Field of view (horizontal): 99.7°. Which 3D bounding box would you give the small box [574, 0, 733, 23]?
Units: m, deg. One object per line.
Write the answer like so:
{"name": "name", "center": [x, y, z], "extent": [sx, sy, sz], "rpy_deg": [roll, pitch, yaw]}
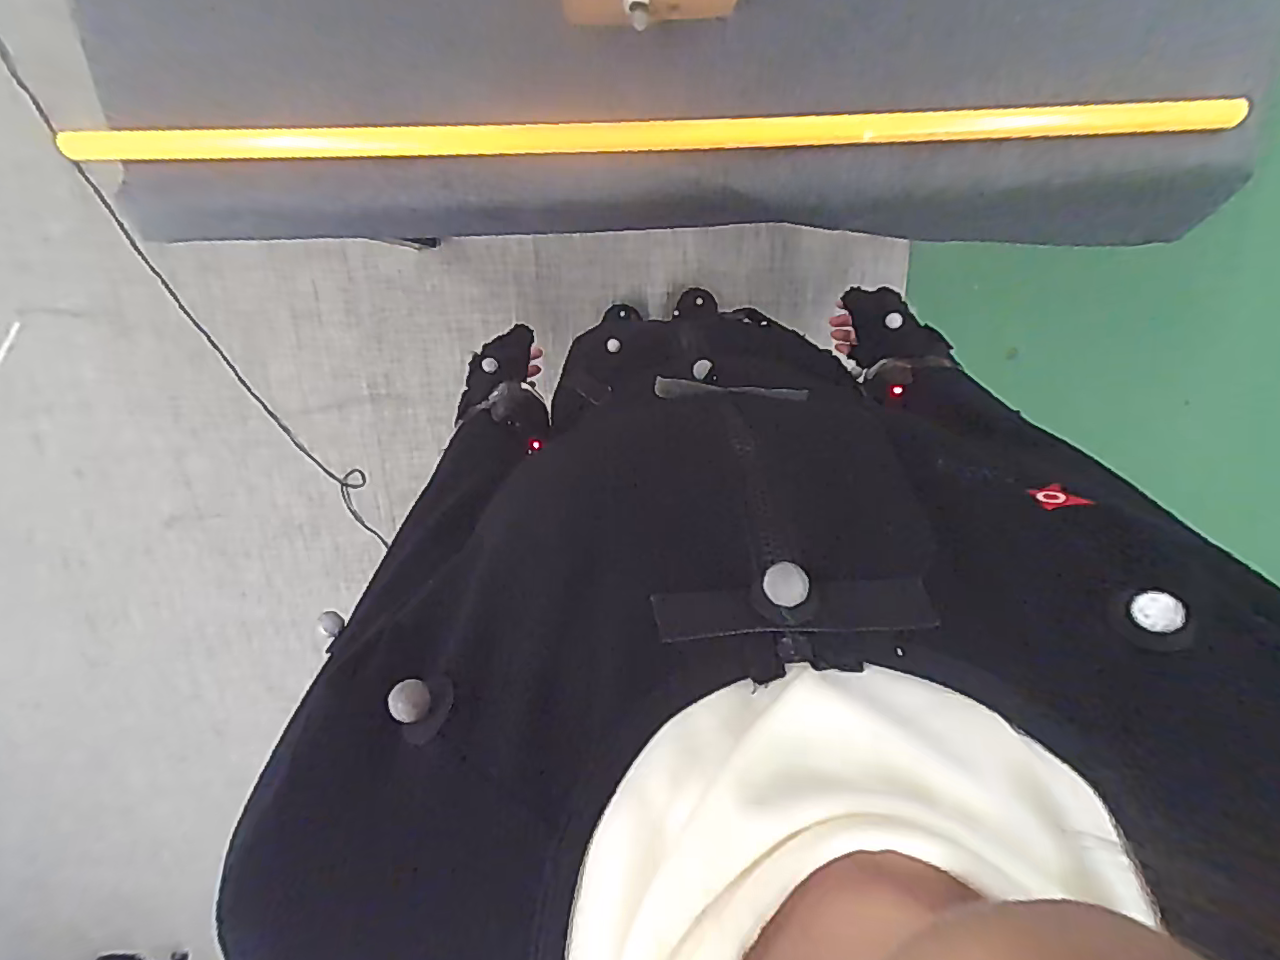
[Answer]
{"name": "small box", "center": [0.007, -0.522, 0.441], "extent": [0.168, 0.176, 0.179], "rpy_deg": [-3, 110, 3]}
